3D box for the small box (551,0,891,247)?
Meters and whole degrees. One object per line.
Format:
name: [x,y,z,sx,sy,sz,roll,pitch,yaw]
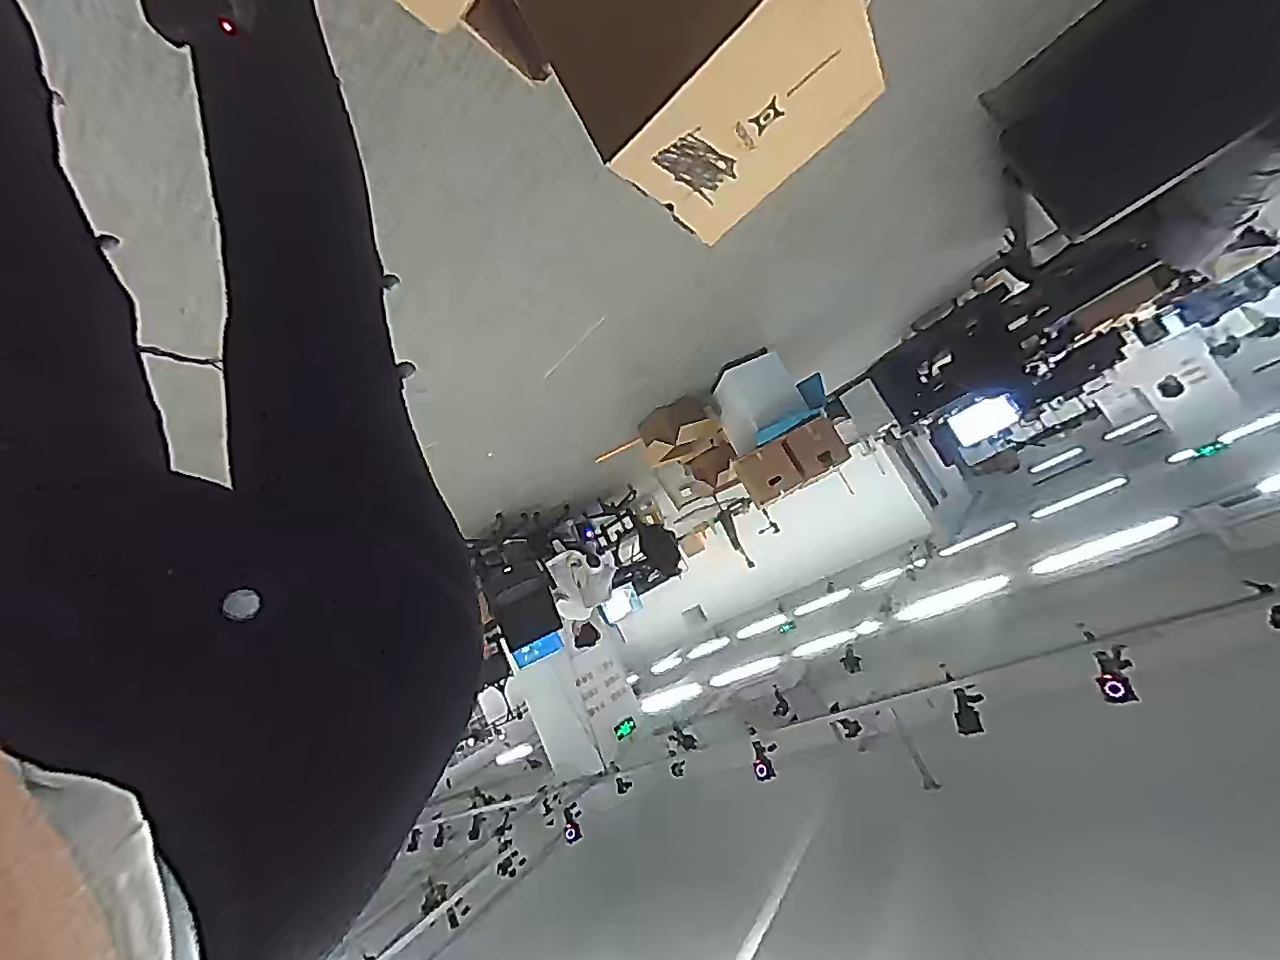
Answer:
small box: [0.055,-0.323,0.408,0.179,0.176,0.168,-34,166,28]
